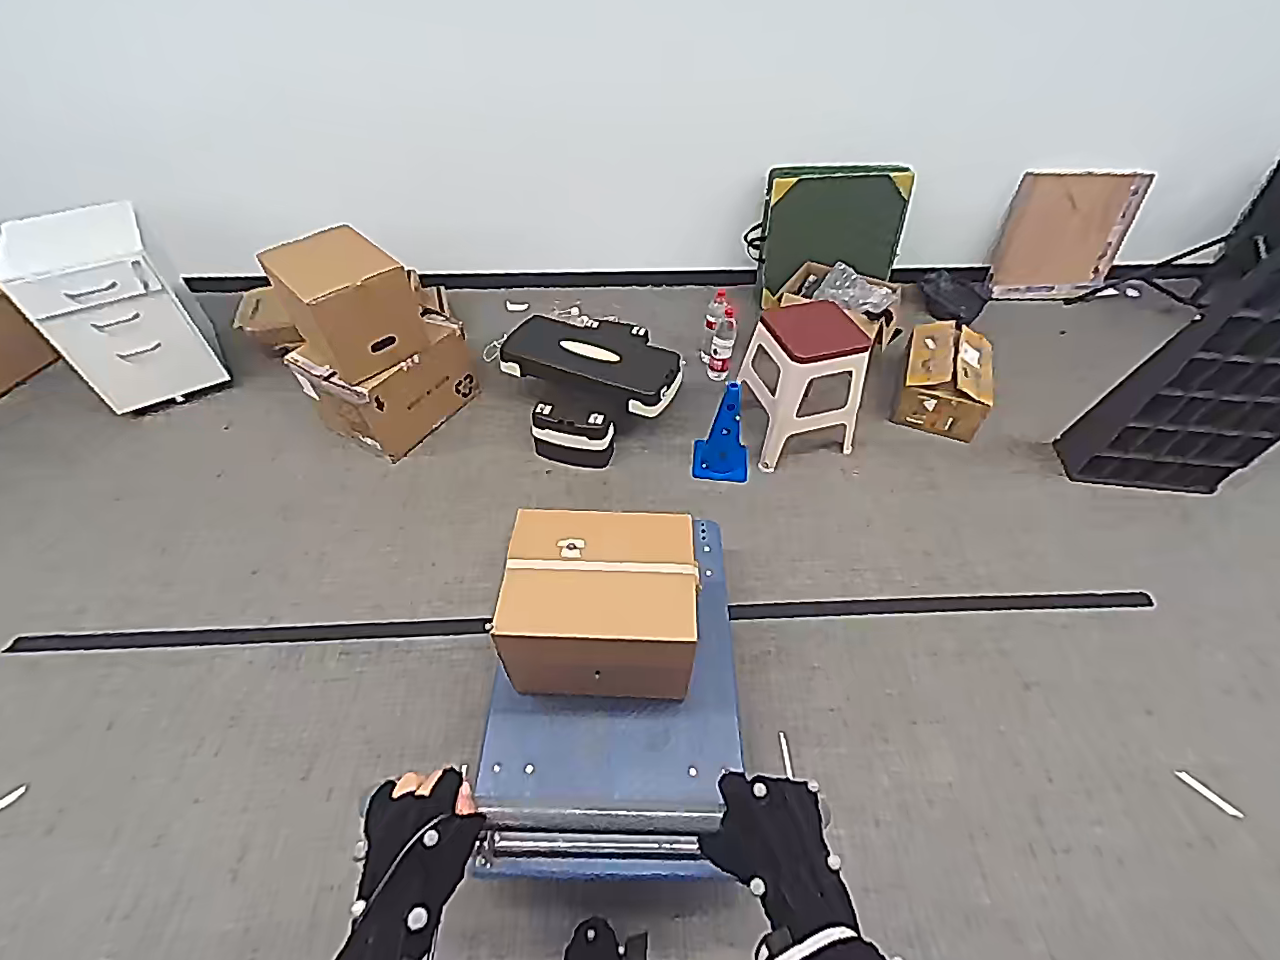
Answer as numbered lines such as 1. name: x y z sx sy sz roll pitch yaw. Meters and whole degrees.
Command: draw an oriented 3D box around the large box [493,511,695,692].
1. large box: -0.086 0.288 1.265 0.408 0.320 0.320 2 48 1
